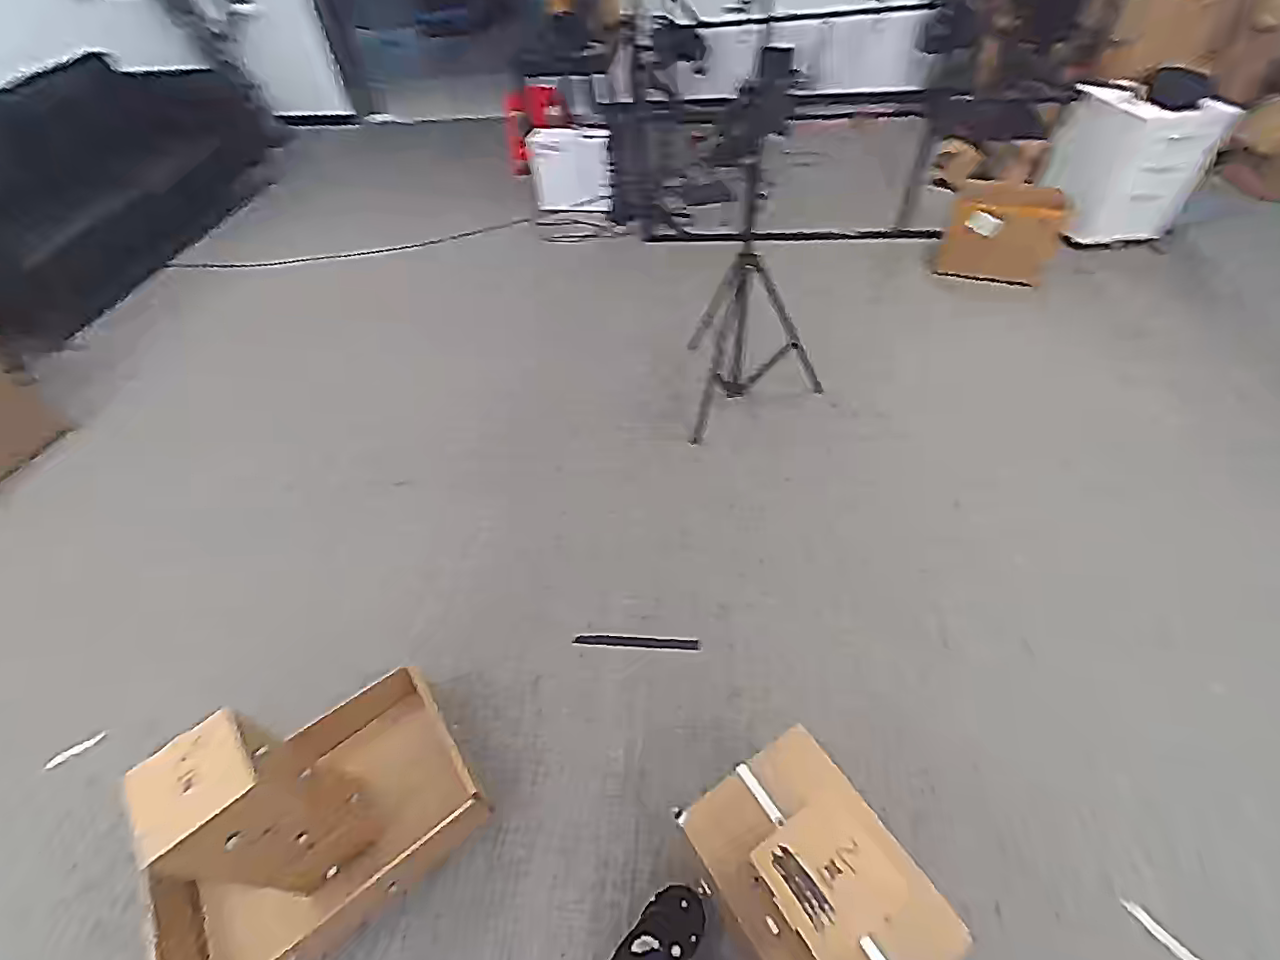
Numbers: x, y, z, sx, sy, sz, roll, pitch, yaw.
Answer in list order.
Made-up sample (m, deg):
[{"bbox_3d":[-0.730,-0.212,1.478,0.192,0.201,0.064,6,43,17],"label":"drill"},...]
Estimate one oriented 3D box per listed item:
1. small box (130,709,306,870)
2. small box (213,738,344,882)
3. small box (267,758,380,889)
[{"bbox_3d":[-0.732,0.549,0.954,0.168,0.176,0.179,-35,55,-25],"label":"small box"},{"bbox_3d":[-0.728,0.660,1.076,0.168,0.176,0.179,-35,54,-25],"label":"small box"},{"bbox_3d":[-0.712,0.765,1.199,0.168,0.176,0.179,-32,55,-21],"label":"small box"}]
